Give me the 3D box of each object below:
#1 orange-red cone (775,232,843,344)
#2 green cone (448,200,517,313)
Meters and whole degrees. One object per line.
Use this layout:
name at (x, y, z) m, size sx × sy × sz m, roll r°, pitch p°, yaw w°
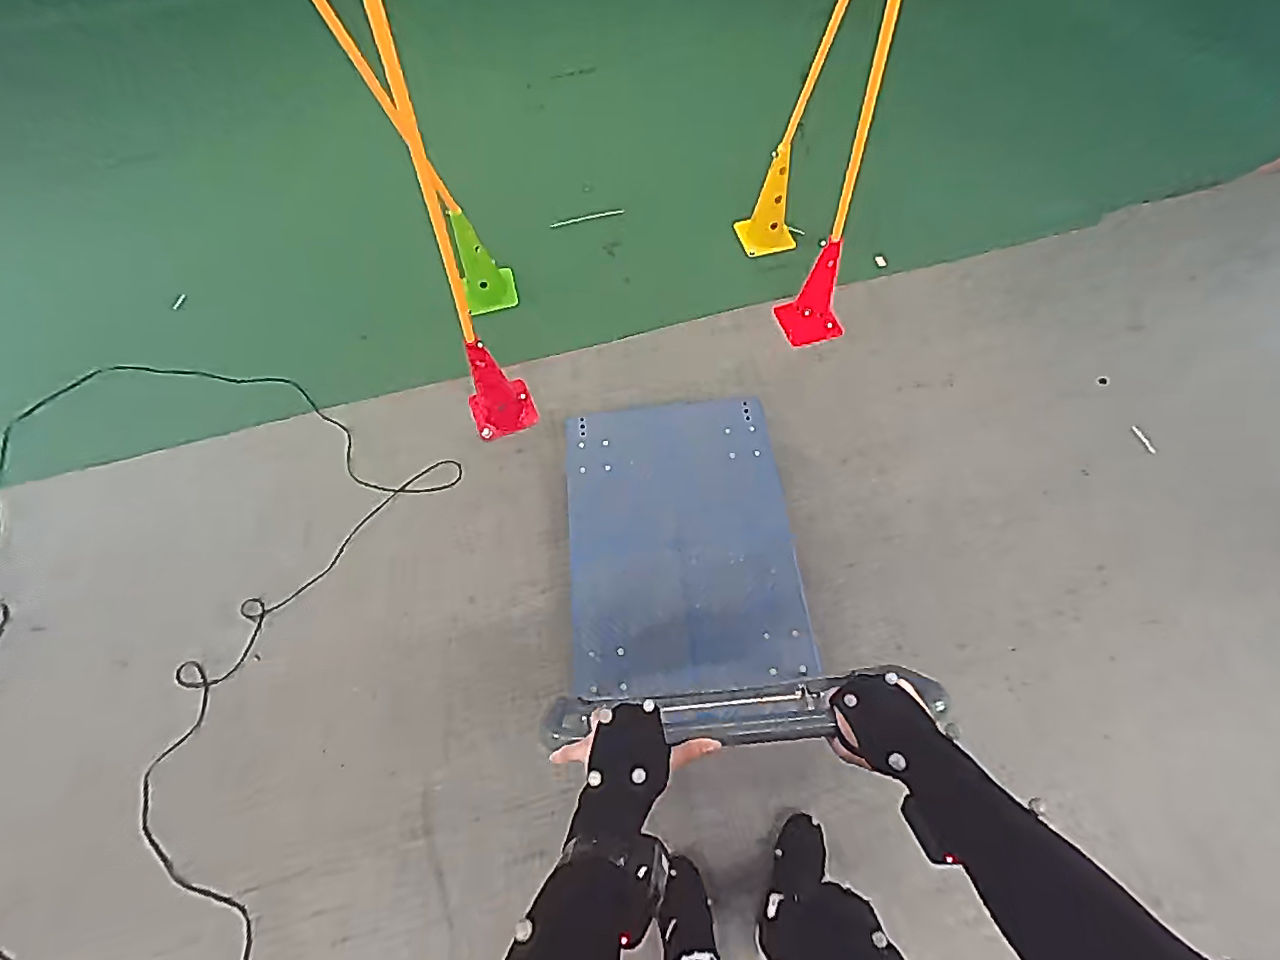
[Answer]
orange-red cone at (0.594, -0.650, 1.773) m, size 0.198 × 0.360 × 0.199 m, roll -14°, pitch 62°, yaw -6°
green cone at (-0.581, -0.797, 1.886) m, size 0.200 × 0.368 × 0.202 m, roll -15°, pitch 63°, yaw -4°
